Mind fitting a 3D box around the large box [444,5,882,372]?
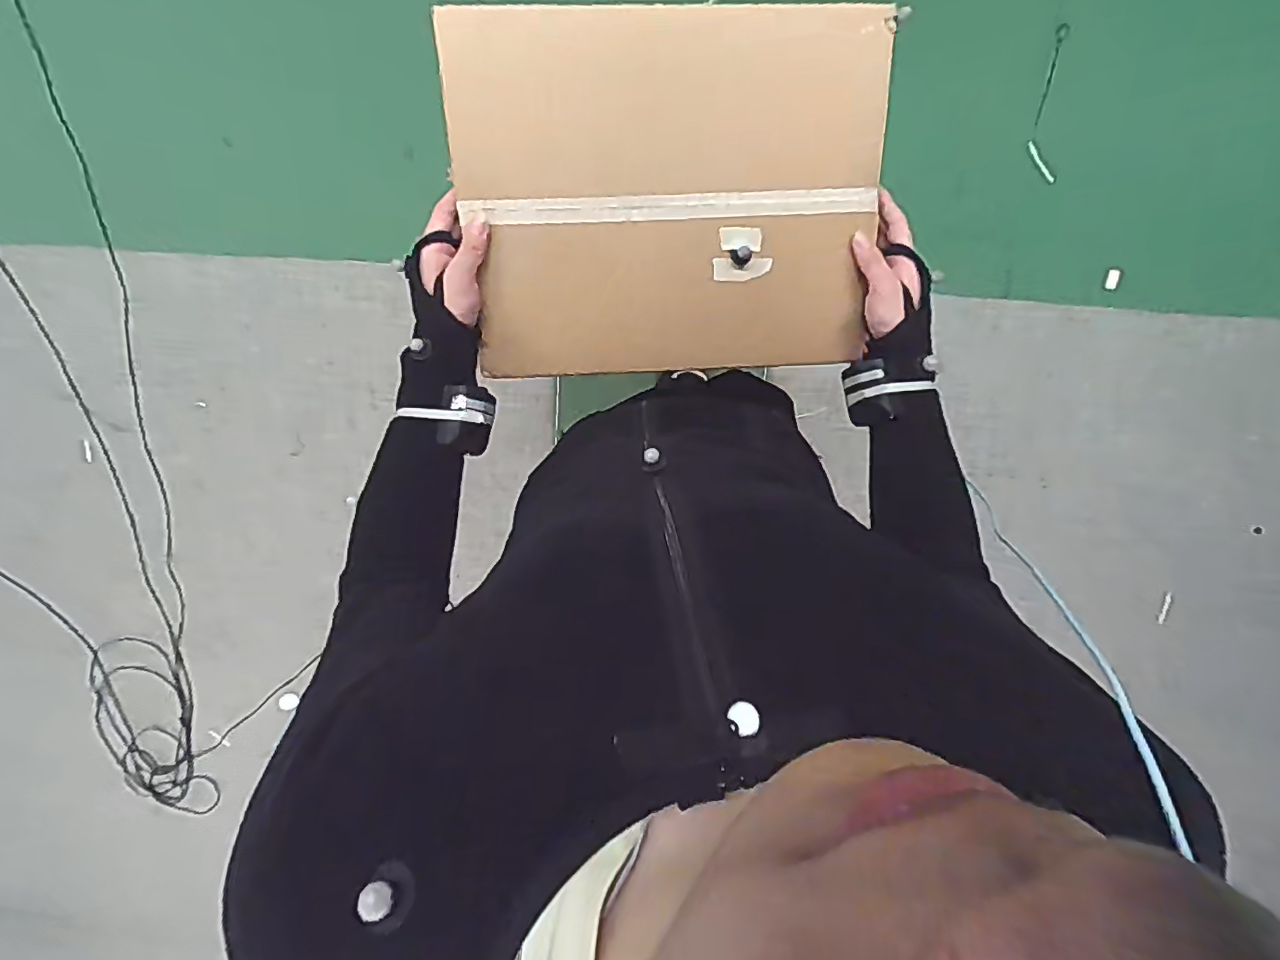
[{"bbox_3d":[0.019,-0.323,0.670,0.408,0.320,0.320,-4,111,-4],"label":"large box"}]
